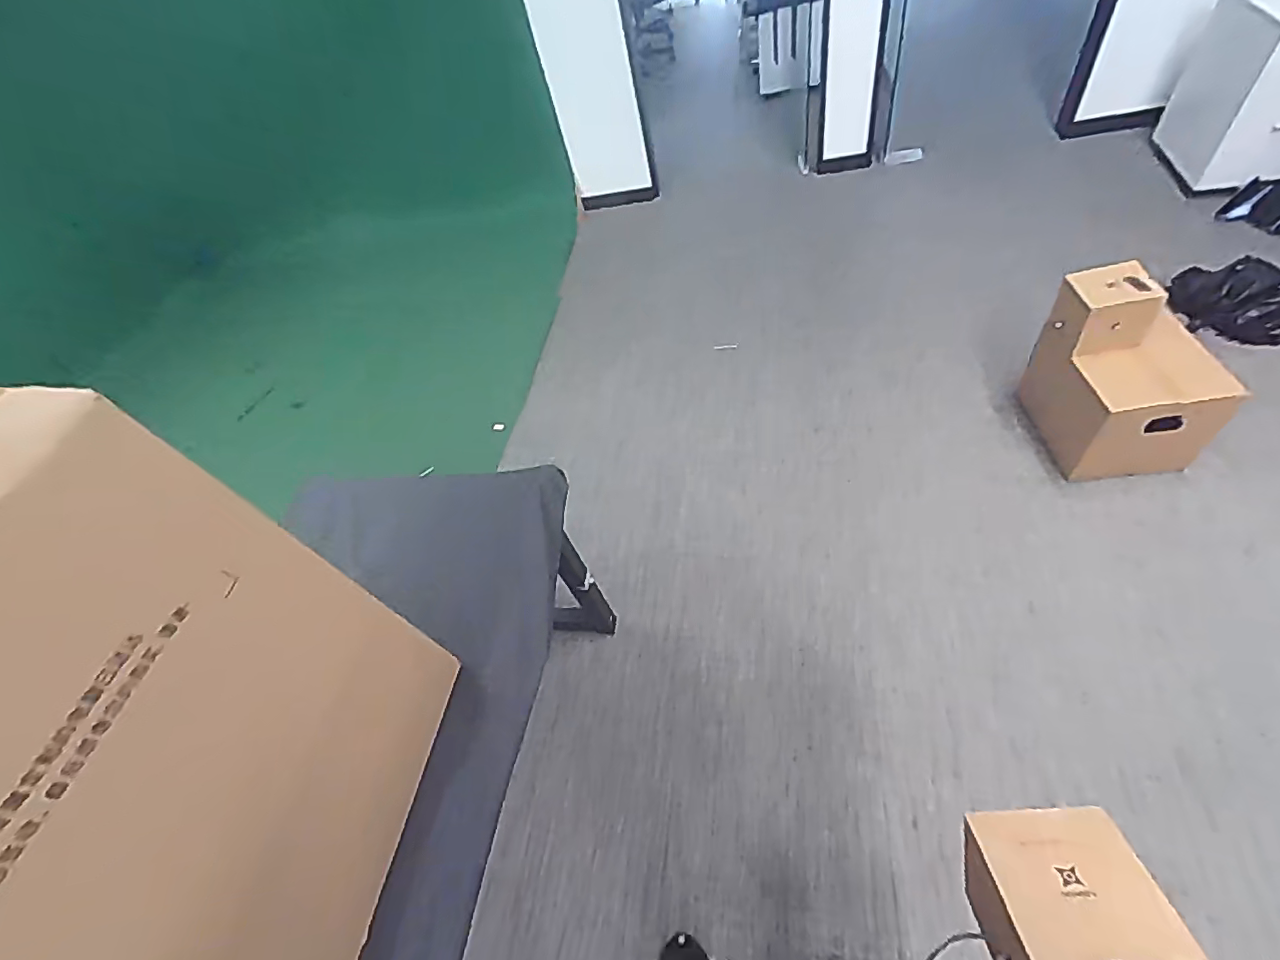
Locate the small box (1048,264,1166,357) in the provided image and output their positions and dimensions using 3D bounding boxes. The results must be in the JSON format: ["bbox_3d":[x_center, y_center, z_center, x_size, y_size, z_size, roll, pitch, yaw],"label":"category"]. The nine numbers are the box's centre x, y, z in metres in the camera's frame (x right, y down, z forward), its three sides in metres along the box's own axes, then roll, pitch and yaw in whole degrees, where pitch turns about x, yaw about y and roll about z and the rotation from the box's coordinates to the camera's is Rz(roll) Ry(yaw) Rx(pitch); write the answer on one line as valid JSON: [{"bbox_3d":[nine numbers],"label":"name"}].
[{"bbox_3d":[1.305,-0.473,1.527,0.179,0.176,0.168,-9,51,14],"label":"small box"}]

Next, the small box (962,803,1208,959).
[{"bbox_3d":[0.514,0.531,0.653,0.168,0.176,0.179,-9,22,10],"label":"small box"}]
